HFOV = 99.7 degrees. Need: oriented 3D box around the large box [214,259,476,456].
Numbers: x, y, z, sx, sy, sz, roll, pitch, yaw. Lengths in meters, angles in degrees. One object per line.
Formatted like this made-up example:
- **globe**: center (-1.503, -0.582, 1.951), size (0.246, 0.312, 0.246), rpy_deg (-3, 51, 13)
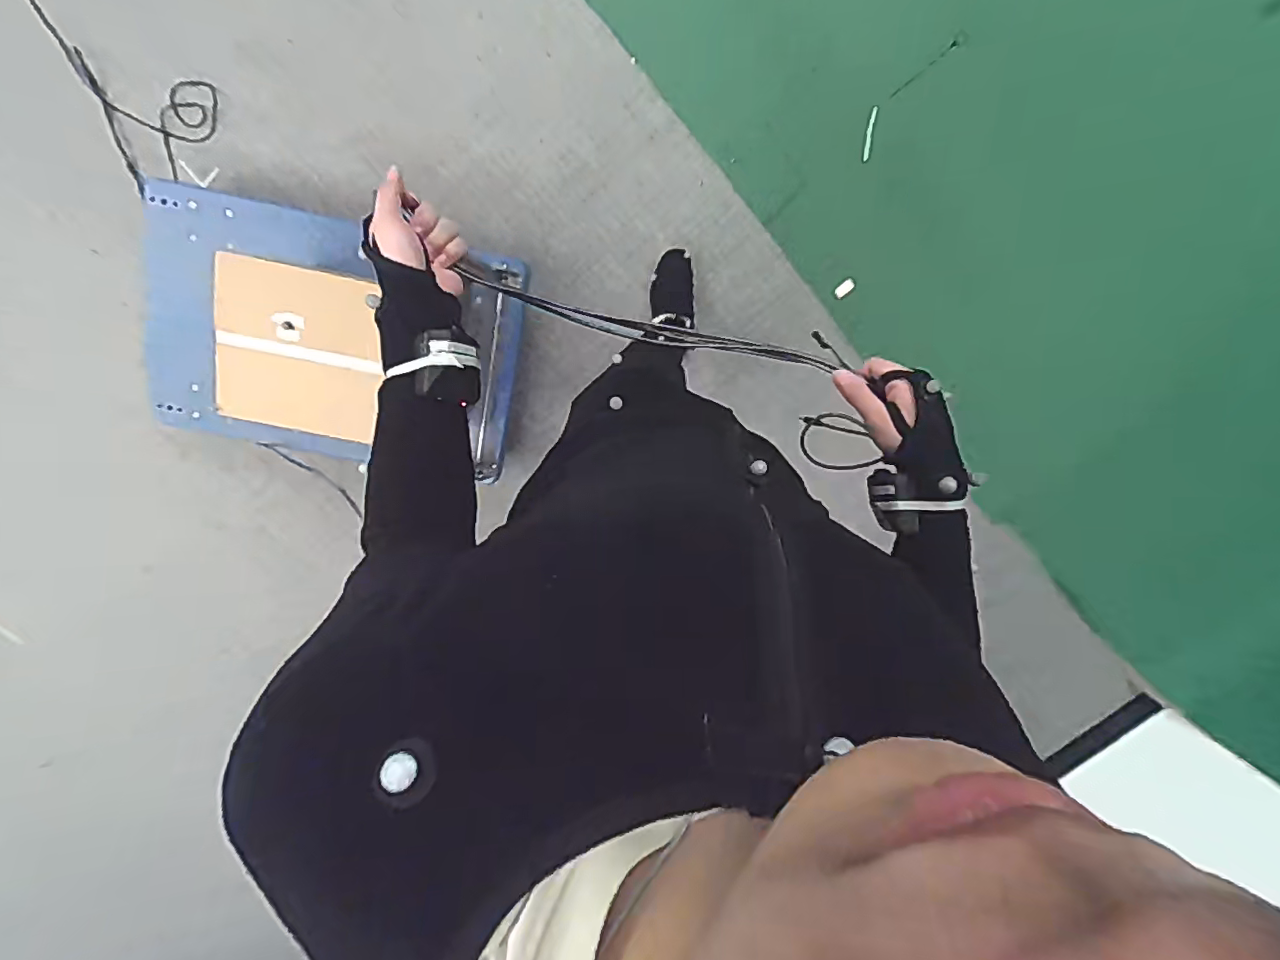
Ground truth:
- **large box**: center (-0.610, -0.266, 1.179), size (0.408, 0.320, 0.320), rpy_deg (11, 104, -4)
